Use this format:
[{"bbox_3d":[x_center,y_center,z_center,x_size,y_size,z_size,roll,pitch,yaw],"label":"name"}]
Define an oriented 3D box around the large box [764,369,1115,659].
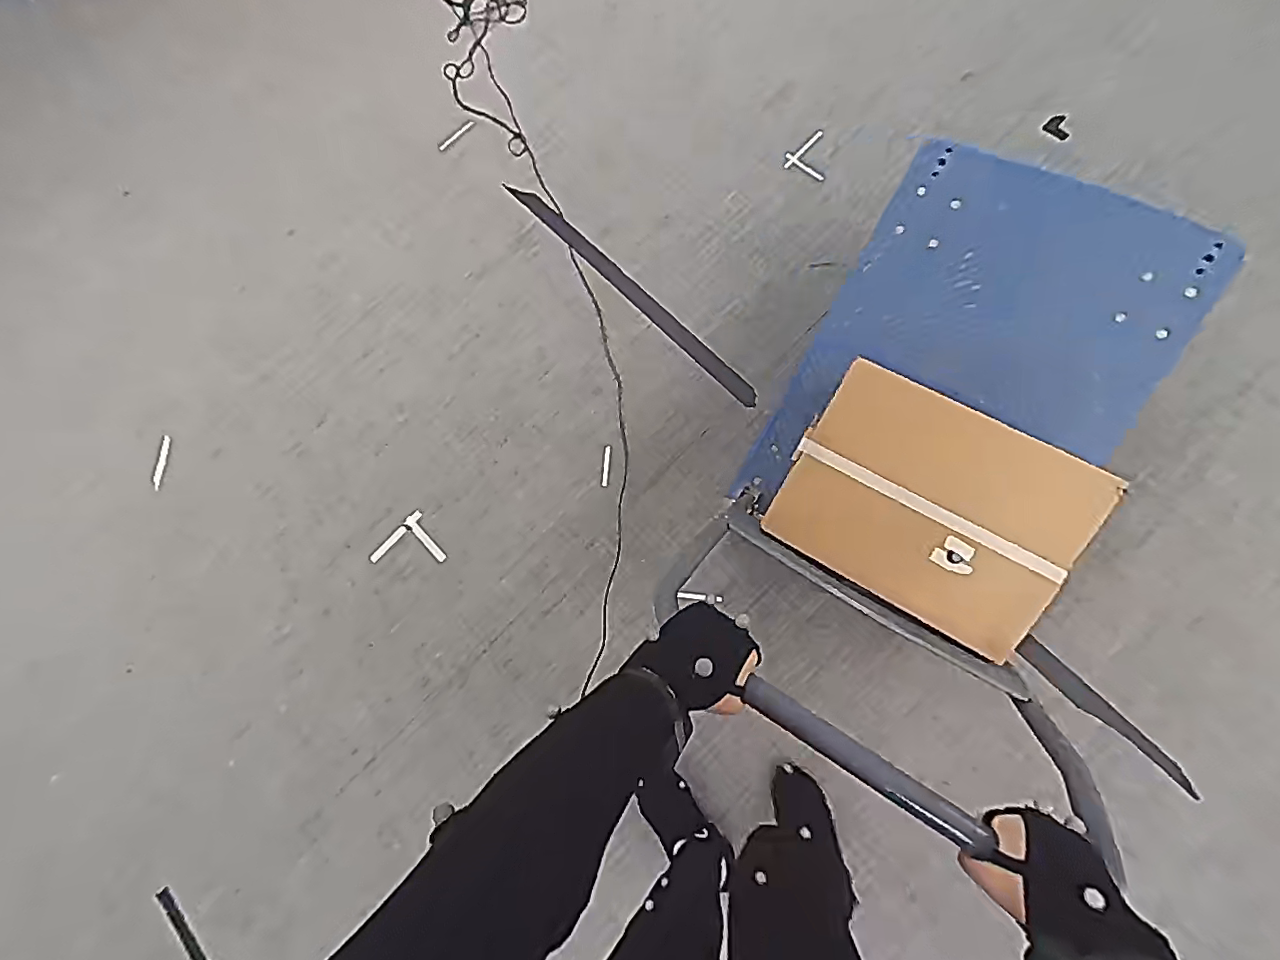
[{"bbox_3d":[0.479,0.042,0.977,0.408,0.320,0.320,30,101,13],"label":"large box"}]
